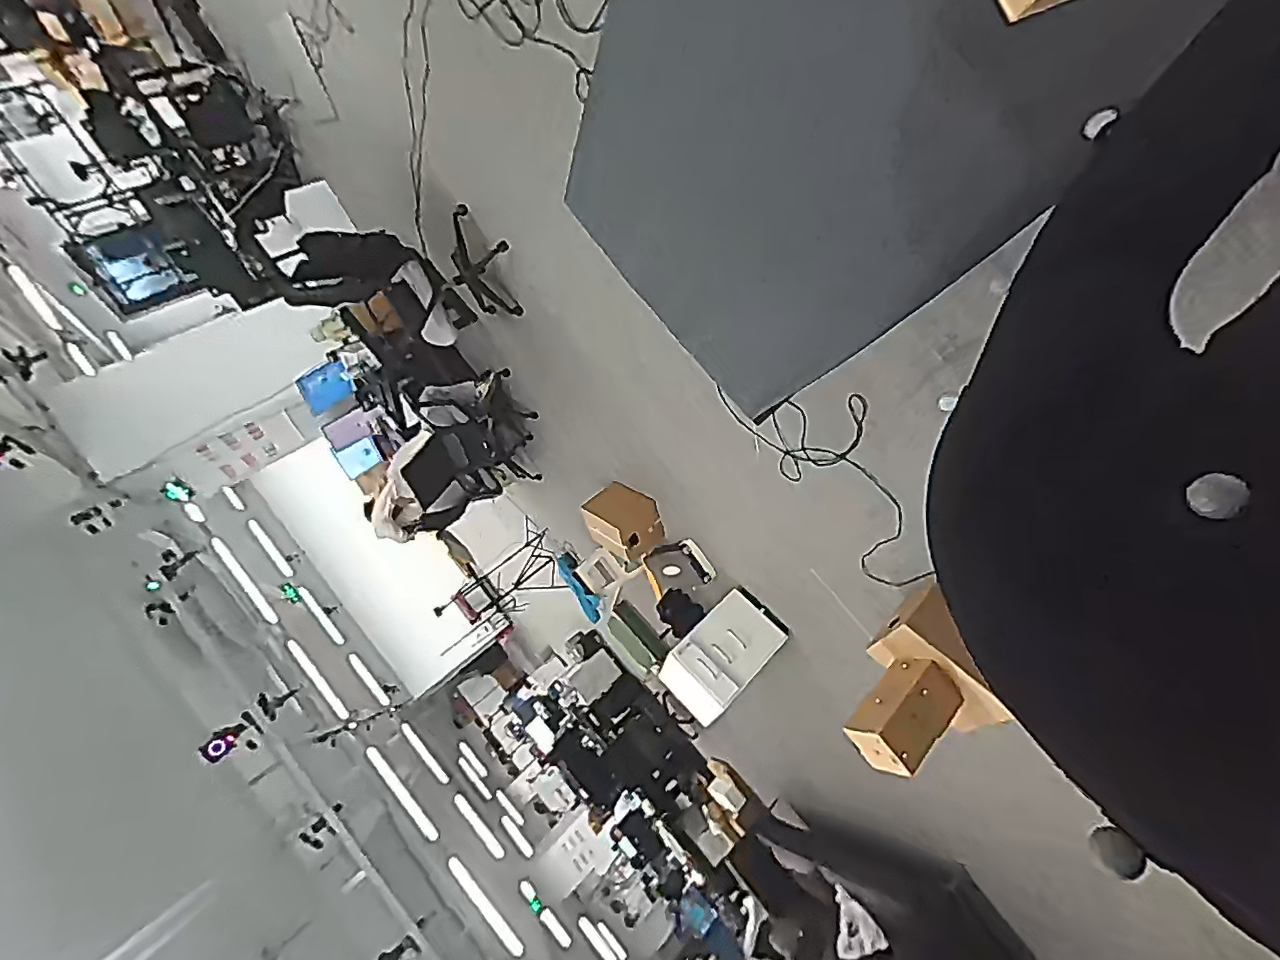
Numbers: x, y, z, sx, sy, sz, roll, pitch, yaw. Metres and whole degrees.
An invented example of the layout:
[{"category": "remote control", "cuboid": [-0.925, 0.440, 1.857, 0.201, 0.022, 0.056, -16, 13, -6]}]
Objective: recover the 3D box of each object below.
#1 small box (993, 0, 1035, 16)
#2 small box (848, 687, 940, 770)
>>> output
[{"category": "small box", "cuboid": [0.323, -0.465, 0.353, 0.179, 0.176, 0.168, 57, 155, -10]}, {"category": "small box", "cuboid": [0.827, 0.798, 1.758, 0.168, 0.176, 0.179, 50, 156, 2]}]
